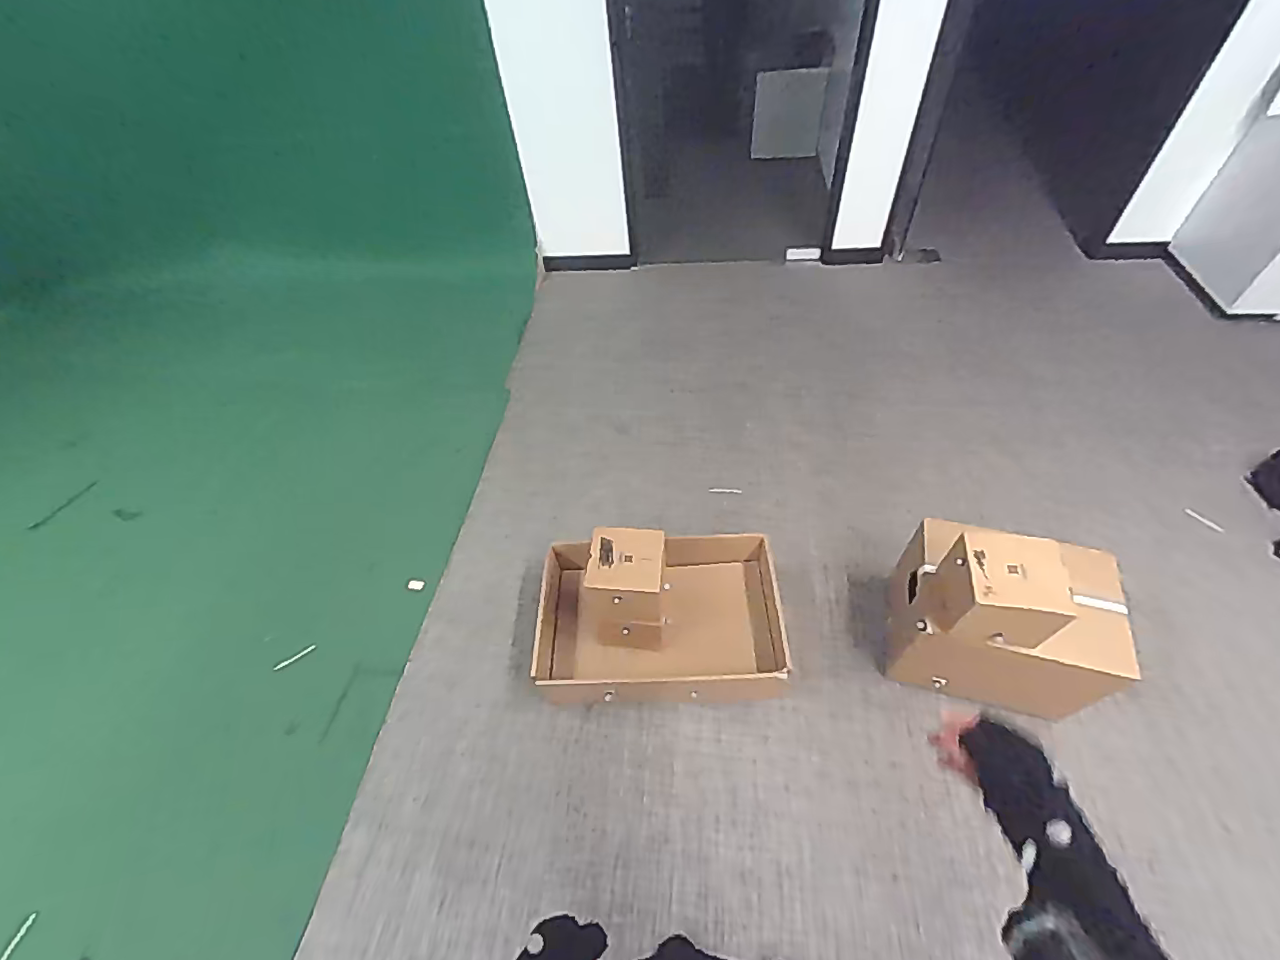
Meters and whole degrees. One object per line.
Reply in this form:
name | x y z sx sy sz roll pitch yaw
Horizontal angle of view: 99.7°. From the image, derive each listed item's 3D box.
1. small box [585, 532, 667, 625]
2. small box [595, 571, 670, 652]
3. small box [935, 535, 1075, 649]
small box | -0.026 0.244 1.326 0.179 0.176 0.168 3 51 5
small box | -0.014 0.349 1.451 0.179 0.176 0.168 4 51 6
small box | 0.742 0.237 1.122 0.179 0.176 0.168 7 53 10
